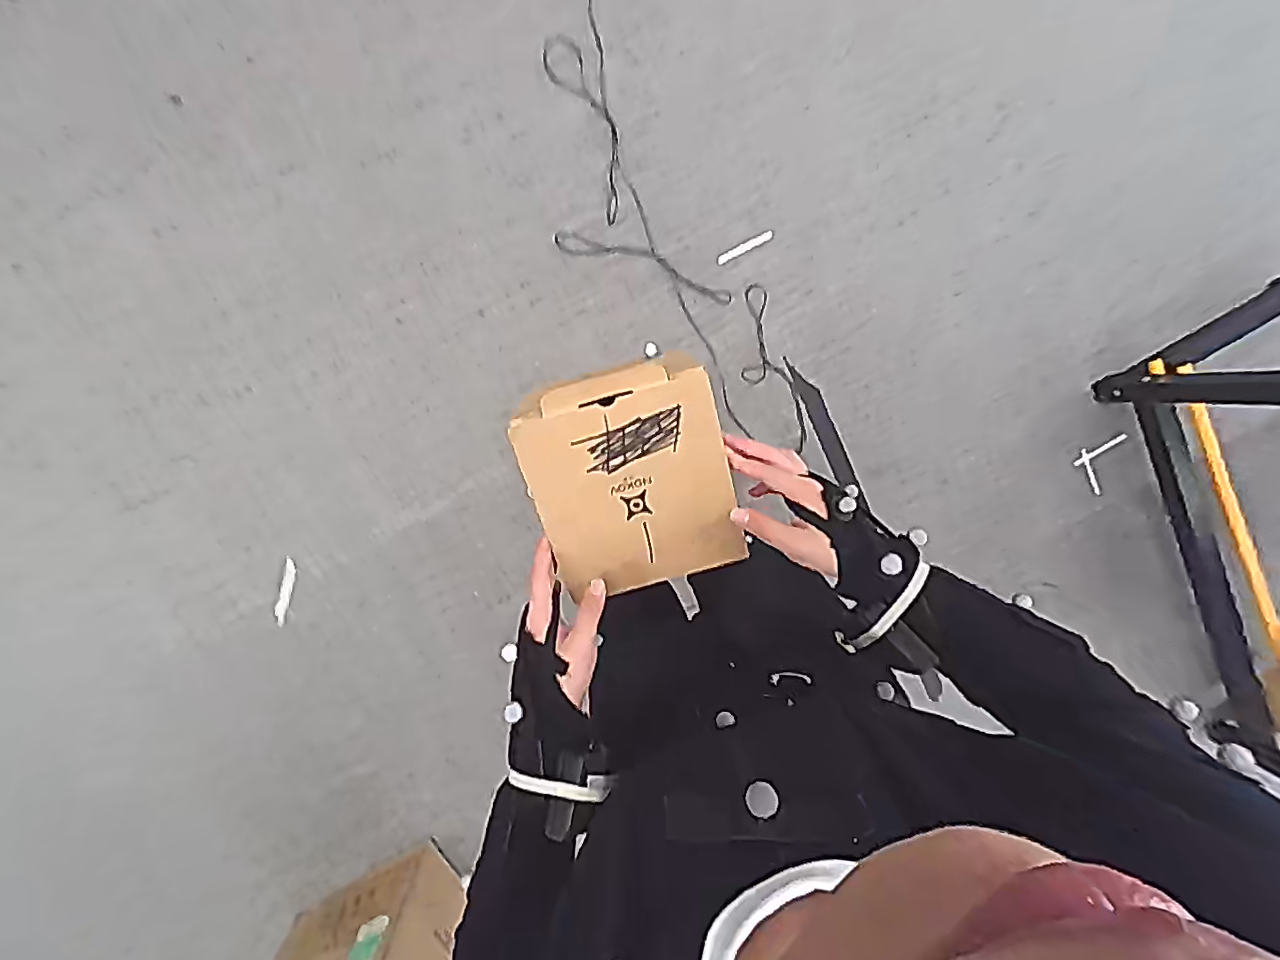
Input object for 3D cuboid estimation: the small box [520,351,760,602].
[{"bbox_3d":[-0.001,-0.018,0.514,0.168,0.176,0.179,-15,109,2],"label":"small box"}]
